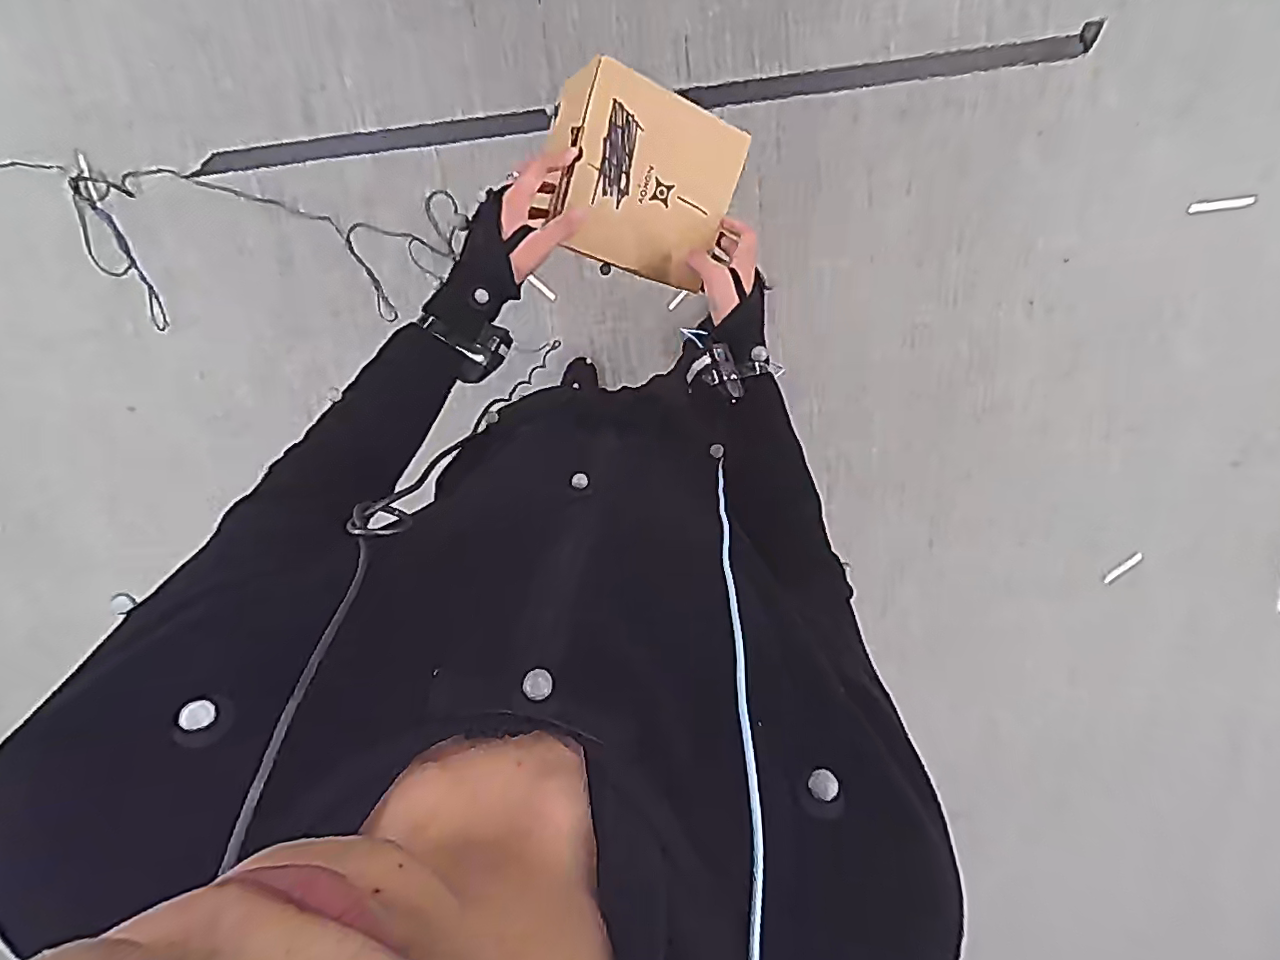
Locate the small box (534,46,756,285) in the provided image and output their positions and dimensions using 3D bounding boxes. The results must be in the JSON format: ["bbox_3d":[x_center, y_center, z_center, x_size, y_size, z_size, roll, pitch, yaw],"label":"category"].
[{"bbox_3d":[-0.008,-0.338,0.614,0.179,0.176,0.168,10,112,-27],"label":"small box"}]
